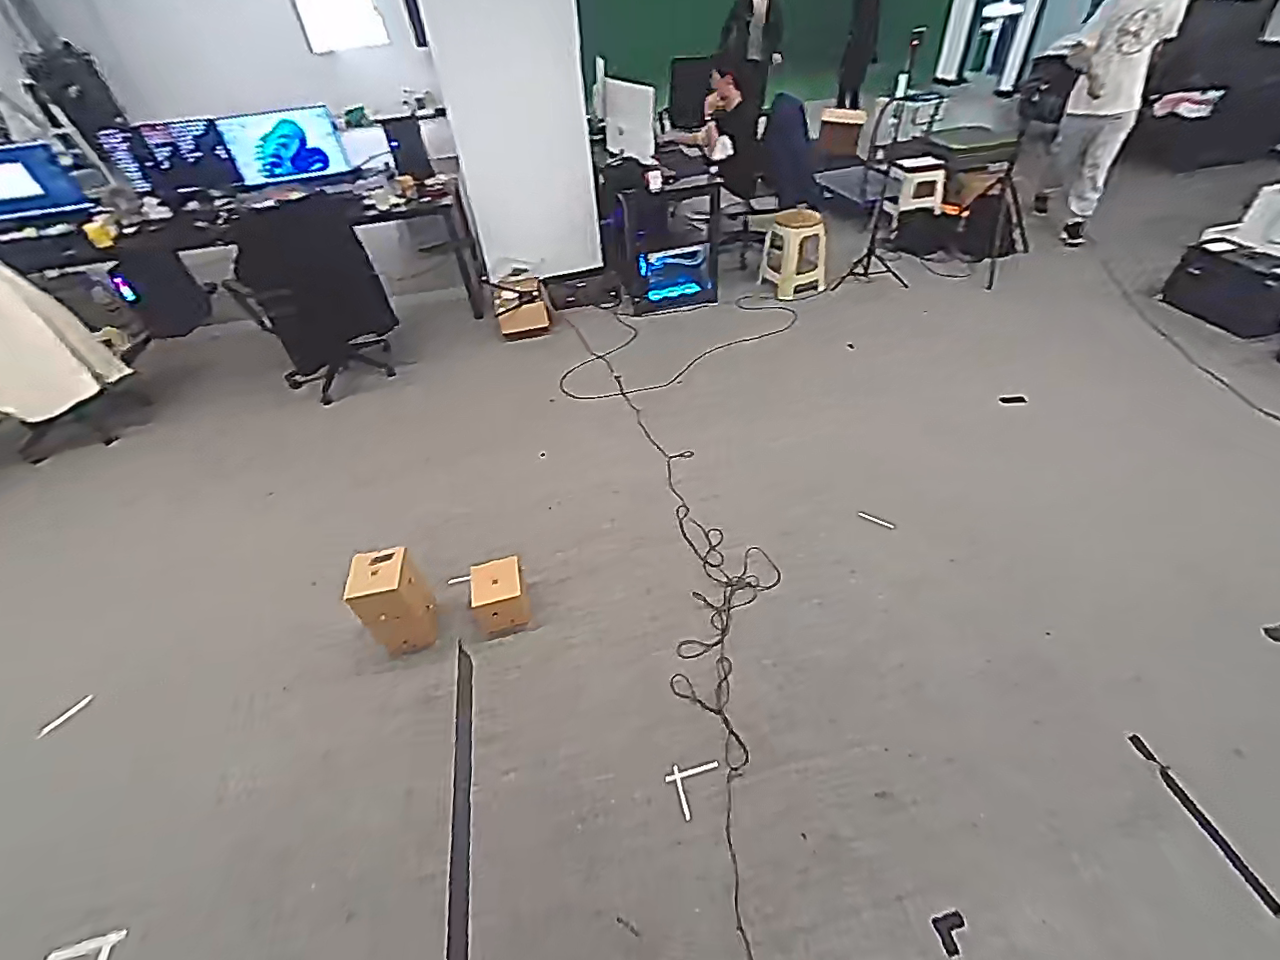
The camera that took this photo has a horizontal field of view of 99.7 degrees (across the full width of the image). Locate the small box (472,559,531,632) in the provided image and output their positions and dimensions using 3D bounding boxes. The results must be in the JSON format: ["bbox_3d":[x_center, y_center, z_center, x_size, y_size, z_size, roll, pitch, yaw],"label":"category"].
[{"bbox_3d":[-0.486,0.413,1.903,0.168,0.176,0.179,-13,43,-8],"label":"small box"}]

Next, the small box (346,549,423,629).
[{"bbox_3d":[-0.822,0.354,1.758,0.168,0.176,0.179,-11,44,-5],"label":"small box"}]
